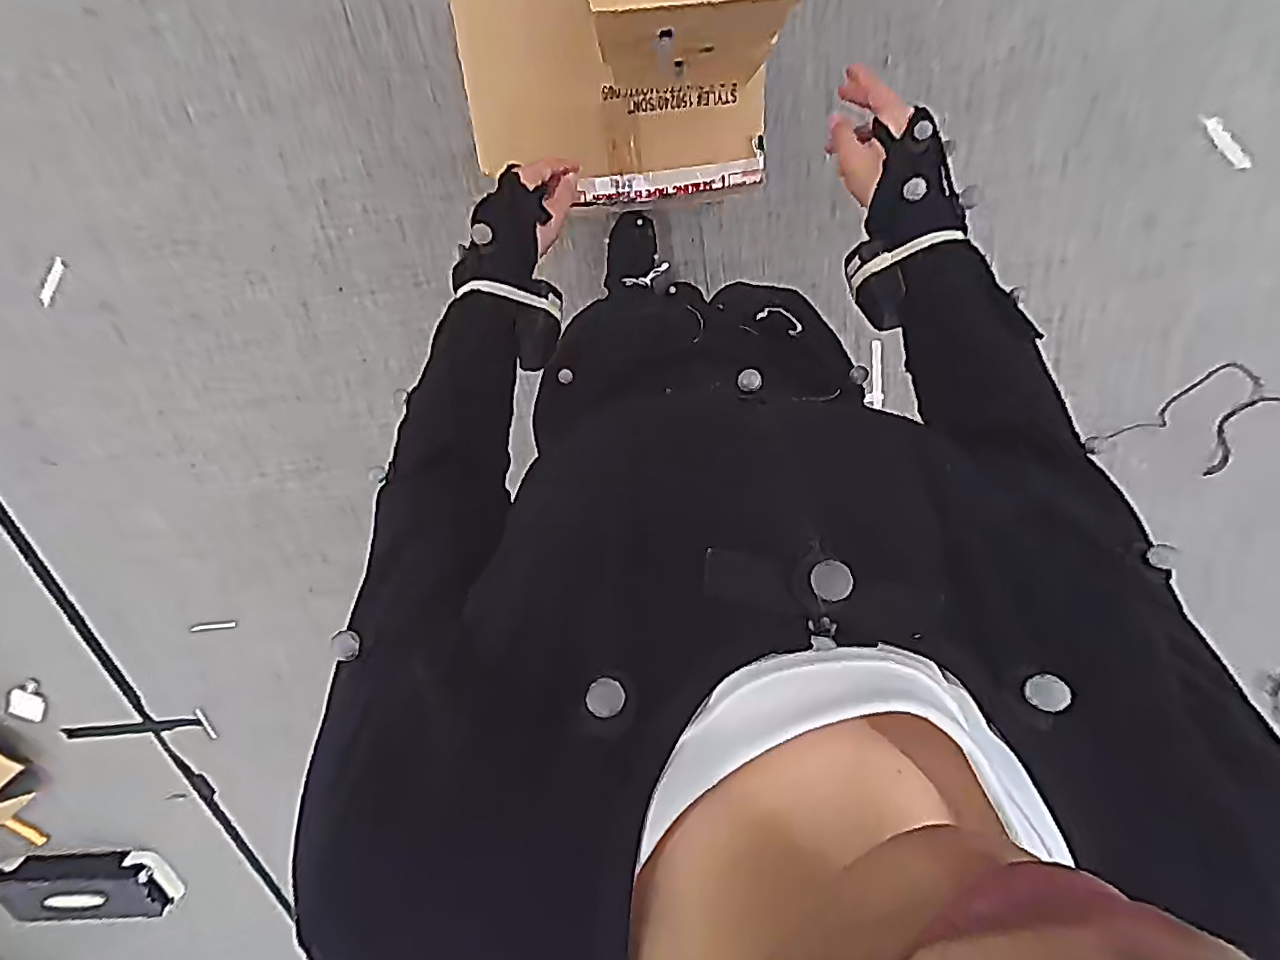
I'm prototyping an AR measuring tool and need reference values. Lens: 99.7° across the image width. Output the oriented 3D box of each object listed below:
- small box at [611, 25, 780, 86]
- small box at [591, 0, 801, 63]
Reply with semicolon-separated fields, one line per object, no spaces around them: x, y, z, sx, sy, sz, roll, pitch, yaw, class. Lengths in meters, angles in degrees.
0.051;-0.541;0.581;0.179;0.176;0.168;-2;116;1;small box
0.041;-0.465;0.438;0.168;0.176;0.179;-4;115;2;small box
